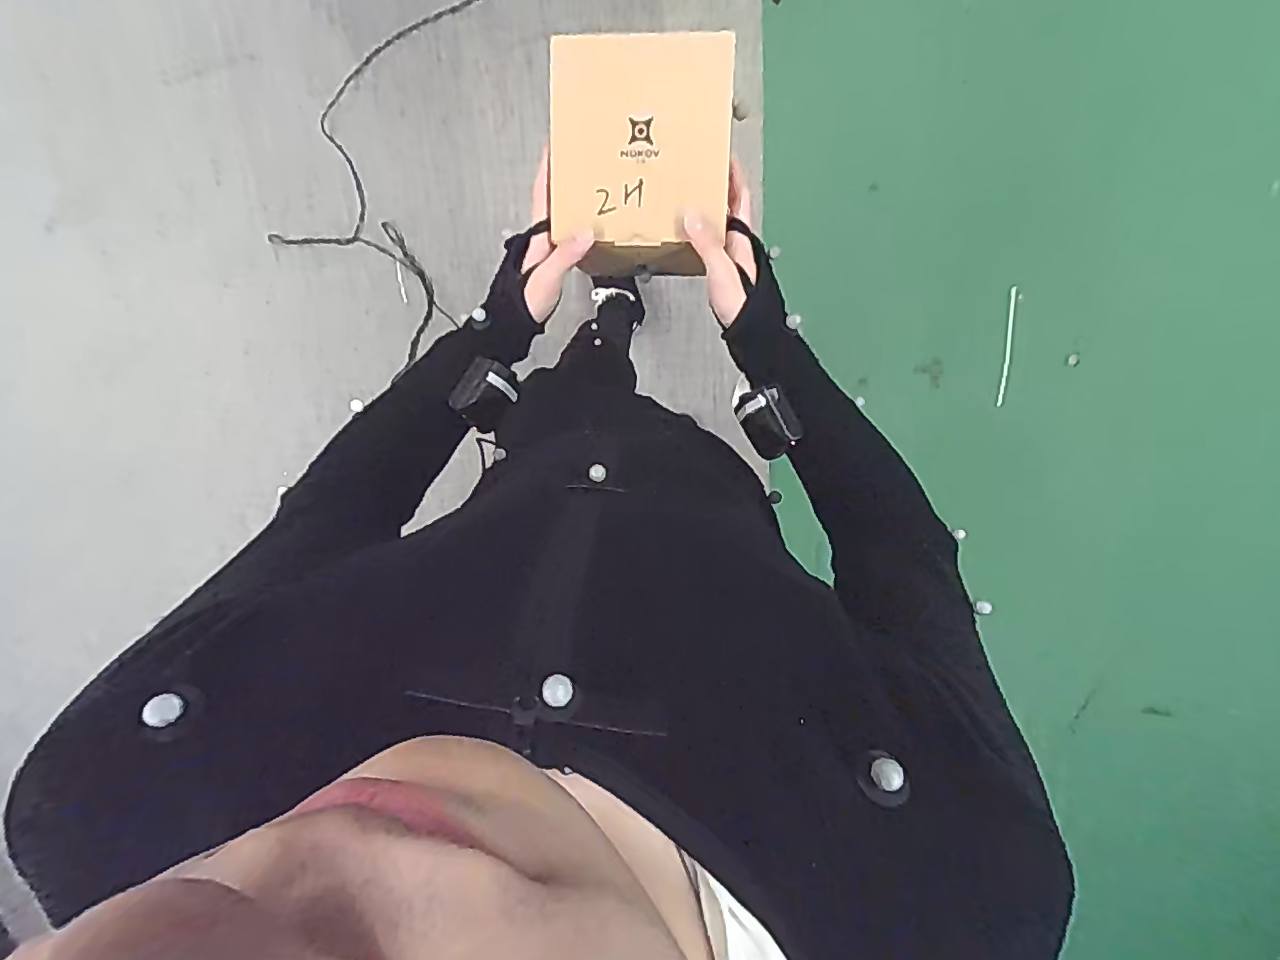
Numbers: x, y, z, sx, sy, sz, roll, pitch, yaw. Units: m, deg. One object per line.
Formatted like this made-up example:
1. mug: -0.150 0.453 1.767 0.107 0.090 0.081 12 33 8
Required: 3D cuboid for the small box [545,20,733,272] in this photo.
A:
1. small box: 0.003 -0.327 0.563 0.168 0.176 0.179 3 101 6
